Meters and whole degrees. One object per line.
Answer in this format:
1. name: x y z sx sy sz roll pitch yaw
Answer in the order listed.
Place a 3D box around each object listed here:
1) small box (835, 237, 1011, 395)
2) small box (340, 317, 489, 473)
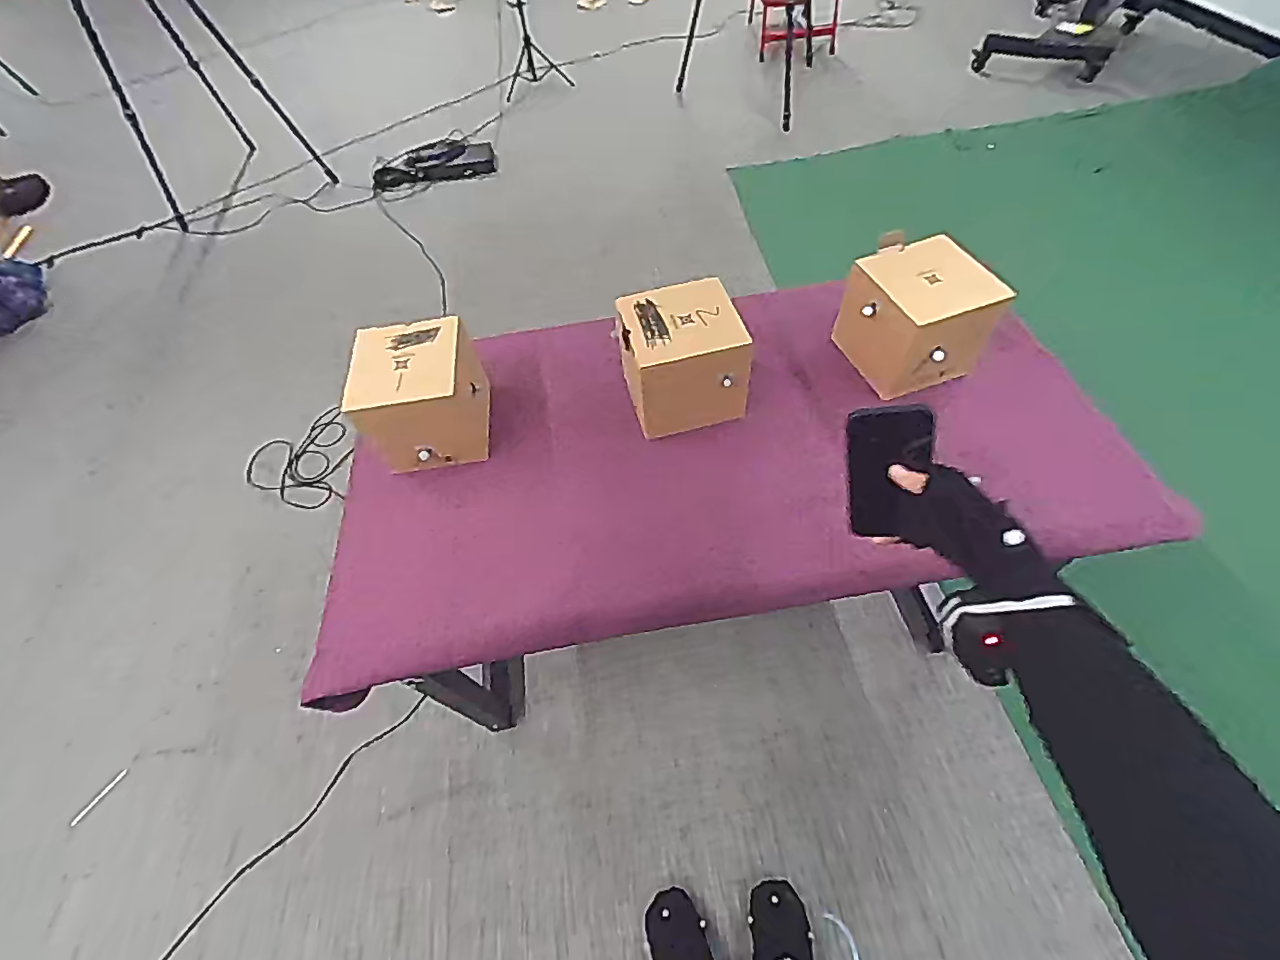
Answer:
1. small box: 0.451 -0.262 0.897 0.168 0.176 0.179 -18 56 -6
2. small box: -0.353 -0.135 0.883 0.168 0.176 0.179 -9 58 -1
